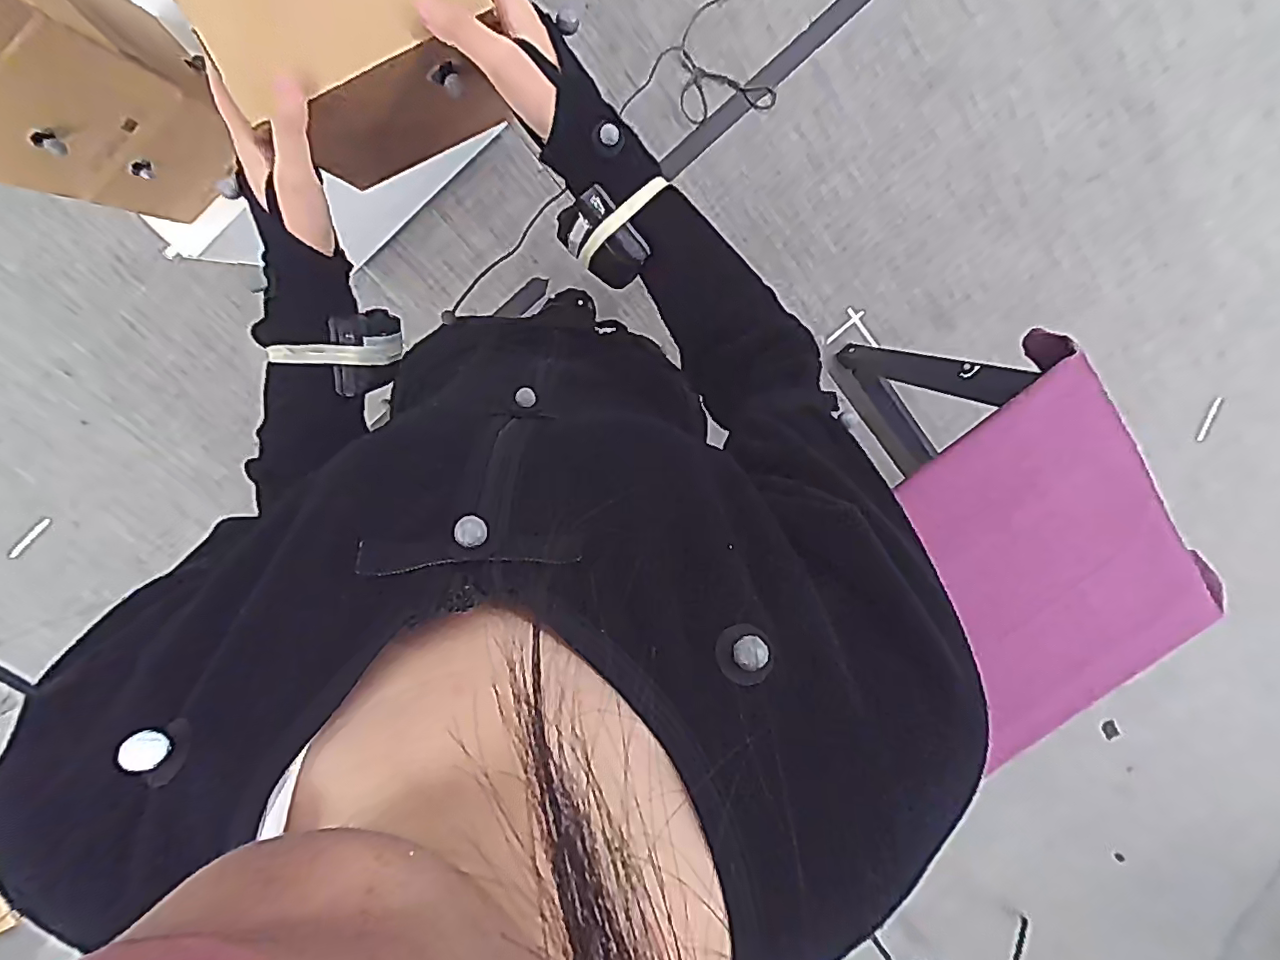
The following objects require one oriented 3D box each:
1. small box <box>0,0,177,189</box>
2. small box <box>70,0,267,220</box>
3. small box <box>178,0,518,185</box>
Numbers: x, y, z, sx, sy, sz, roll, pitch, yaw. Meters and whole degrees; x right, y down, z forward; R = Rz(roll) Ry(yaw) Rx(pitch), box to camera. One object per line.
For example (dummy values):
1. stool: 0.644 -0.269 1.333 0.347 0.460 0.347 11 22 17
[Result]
1. small box: -0.574 -0.383 0.468 0.168 0.176 0.179 -41 107 7
2. small box: -0.593 -0.434 0.622 0.168 0.176 0.179 -39 107 6
3. small box: -0.201 -0.346 0.388 0.179 0.176 0.168 -23 105 4
